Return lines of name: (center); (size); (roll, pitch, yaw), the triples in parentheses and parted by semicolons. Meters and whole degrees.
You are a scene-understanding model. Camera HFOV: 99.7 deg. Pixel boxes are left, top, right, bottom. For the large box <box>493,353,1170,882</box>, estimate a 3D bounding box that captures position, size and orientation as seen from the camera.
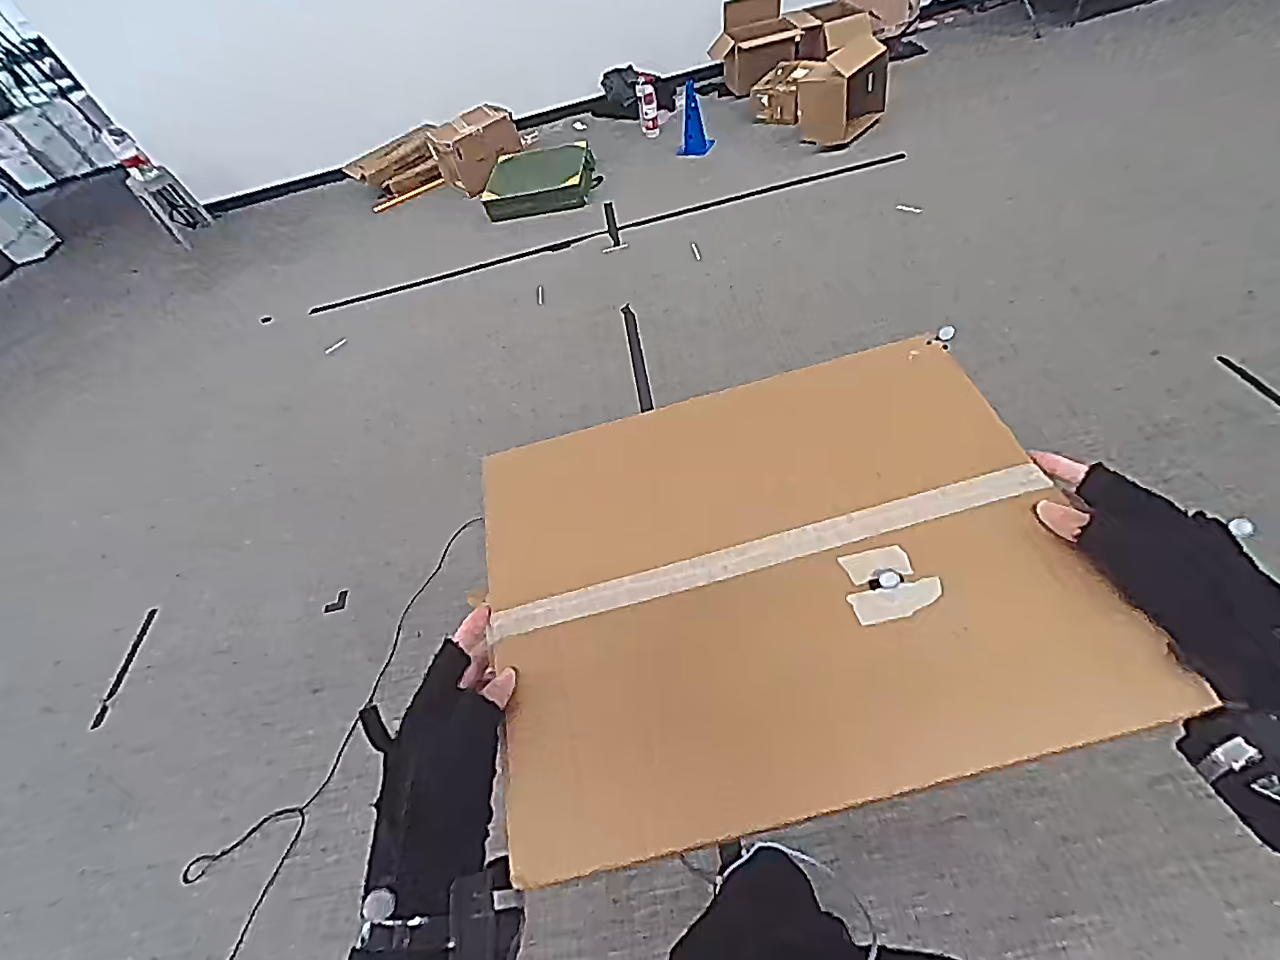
large box: (0.113, 0.141, 0.523); (0.408, 0.320, 0.320); (-15, 57, 0)
